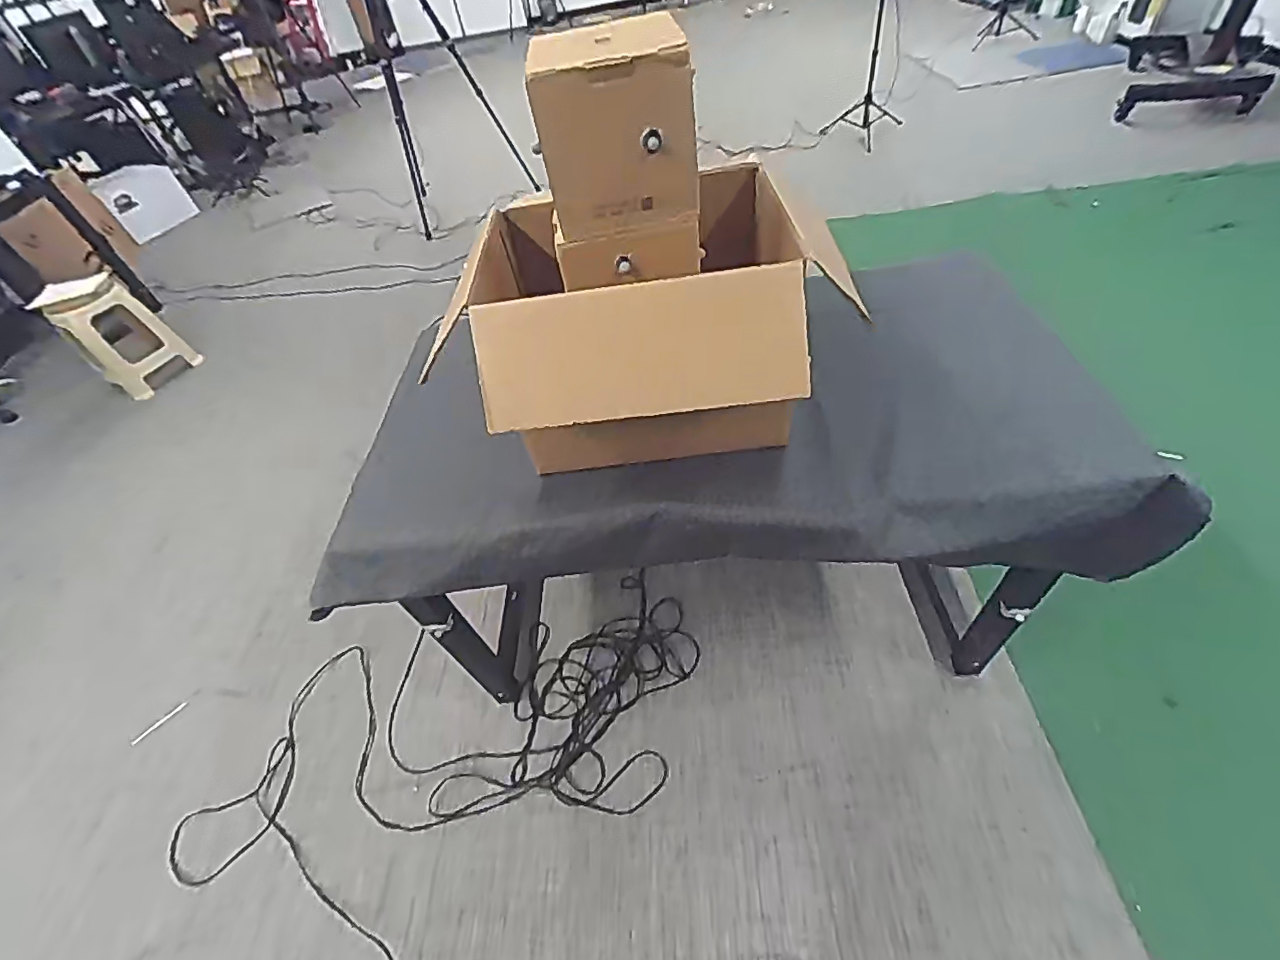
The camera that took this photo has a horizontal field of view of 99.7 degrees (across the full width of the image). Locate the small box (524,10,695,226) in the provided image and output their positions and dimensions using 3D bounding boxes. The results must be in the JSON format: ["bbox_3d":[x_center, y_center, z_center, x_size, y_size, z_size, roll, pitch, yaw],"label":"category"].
[{"bbox_3d":[-0.030,-0.416,0.636,0.168,0.176,0.179,-9,48,1],"label":"small box"}]
